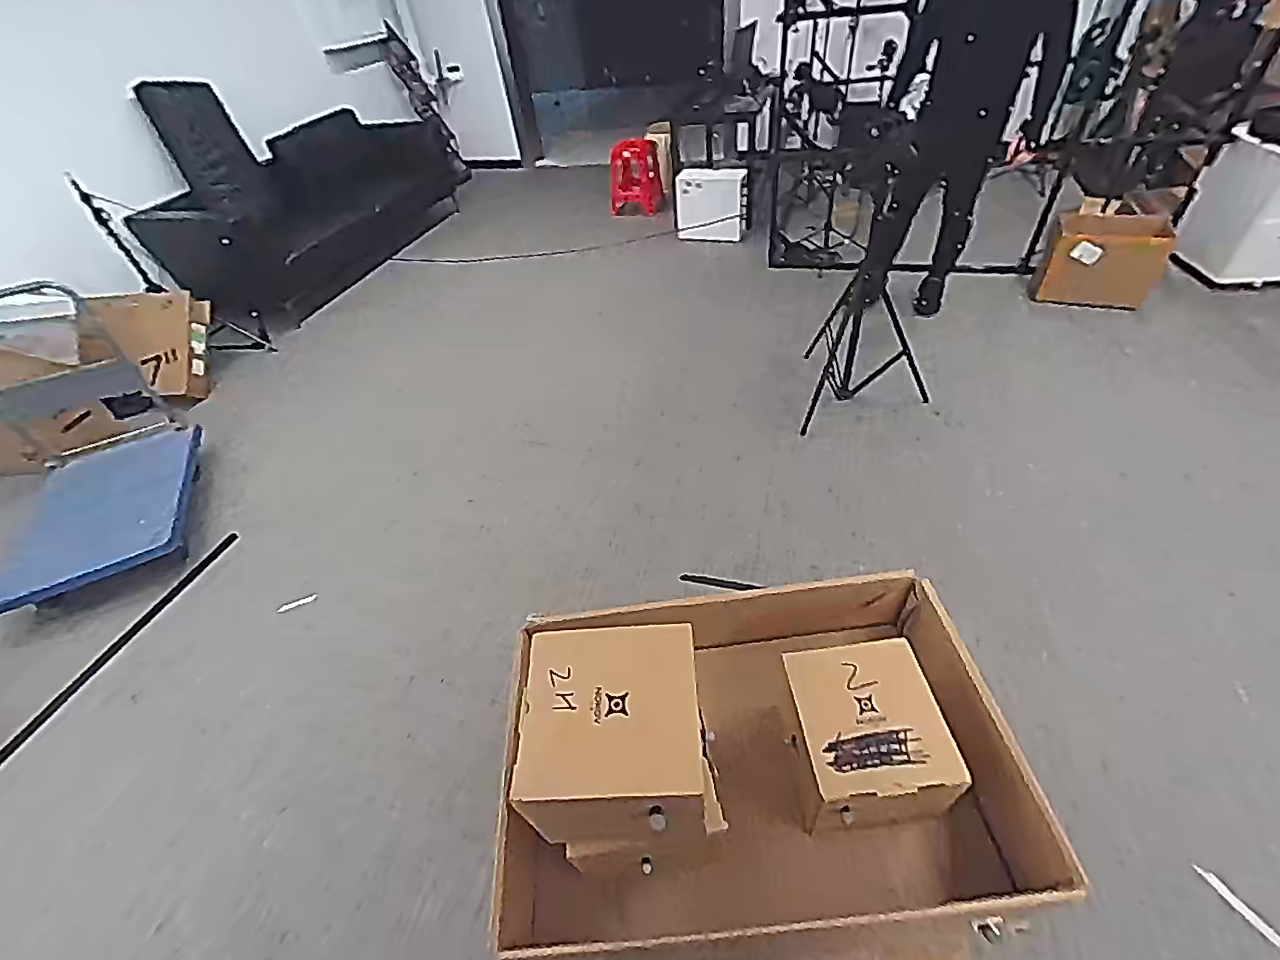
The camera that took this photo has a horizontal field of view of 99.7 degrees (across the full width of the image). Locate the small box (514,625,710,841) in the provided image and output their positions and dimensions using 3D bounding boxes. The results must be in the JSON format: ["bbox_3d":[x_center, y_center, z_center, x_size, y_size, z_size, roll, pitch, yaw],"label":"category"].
[{"bbox_3d":[-0.018,0.275,0.585,0.179,0.176,0.168,-5,45,4],"label":"small box"}]
